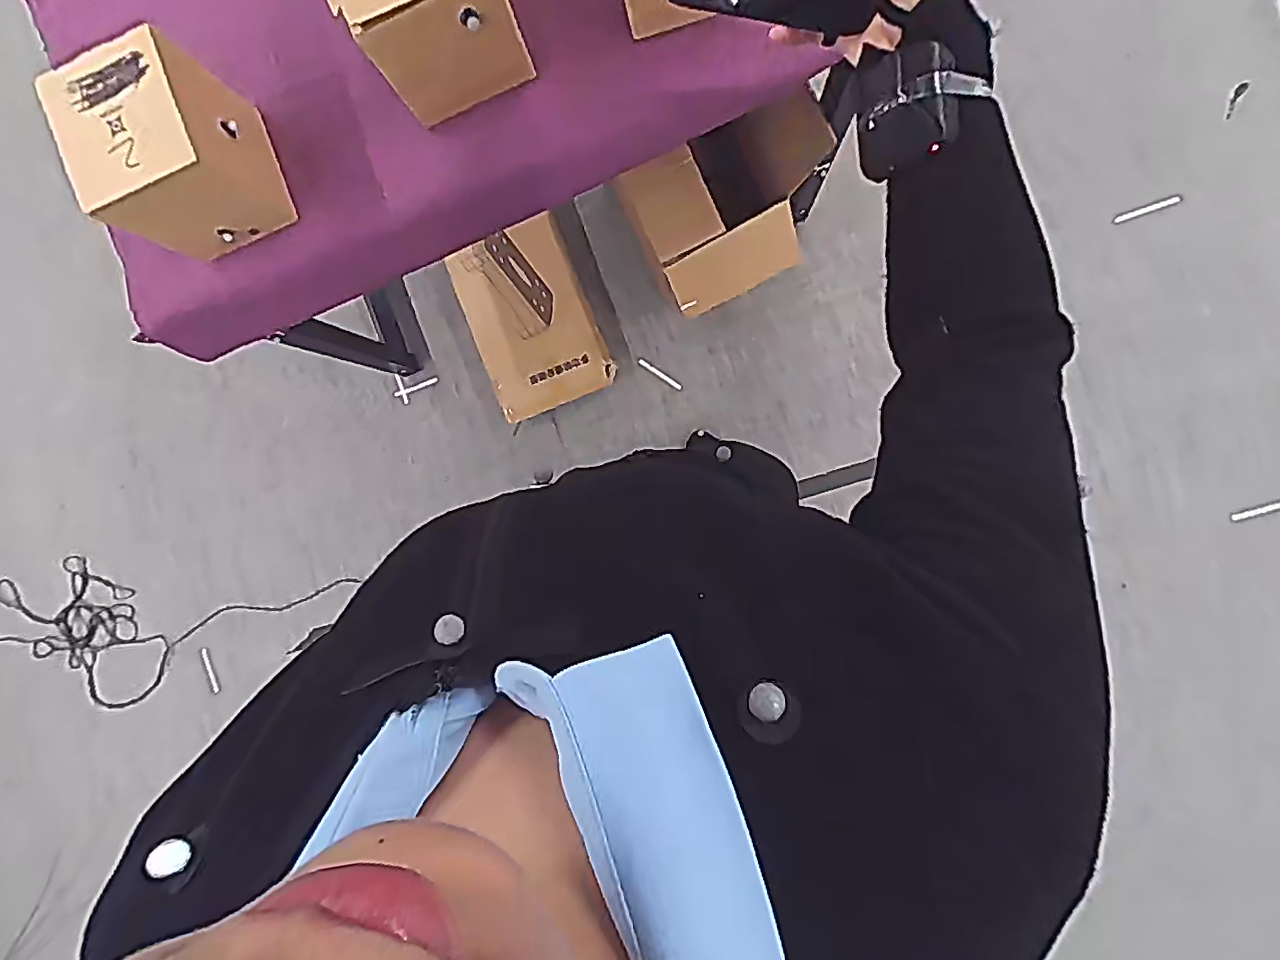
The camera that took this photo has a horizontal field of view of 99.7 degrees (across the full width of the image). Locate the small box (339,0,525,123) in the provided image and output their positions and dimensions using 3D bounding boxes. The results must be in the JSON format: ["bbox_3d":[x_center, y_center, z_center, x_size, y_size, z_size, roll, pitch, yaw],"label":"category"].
[{"bbox_3d":[-0.259,-0.599,0.673,0.179,0.176,0.168,-21,88,6],"label":"small box"}]

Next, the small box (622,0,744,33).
[{"bbox_3d":[0.045,-0.688,0.641,0.179,0.176,0.168,-14,91,6],"label":"small box"}]
